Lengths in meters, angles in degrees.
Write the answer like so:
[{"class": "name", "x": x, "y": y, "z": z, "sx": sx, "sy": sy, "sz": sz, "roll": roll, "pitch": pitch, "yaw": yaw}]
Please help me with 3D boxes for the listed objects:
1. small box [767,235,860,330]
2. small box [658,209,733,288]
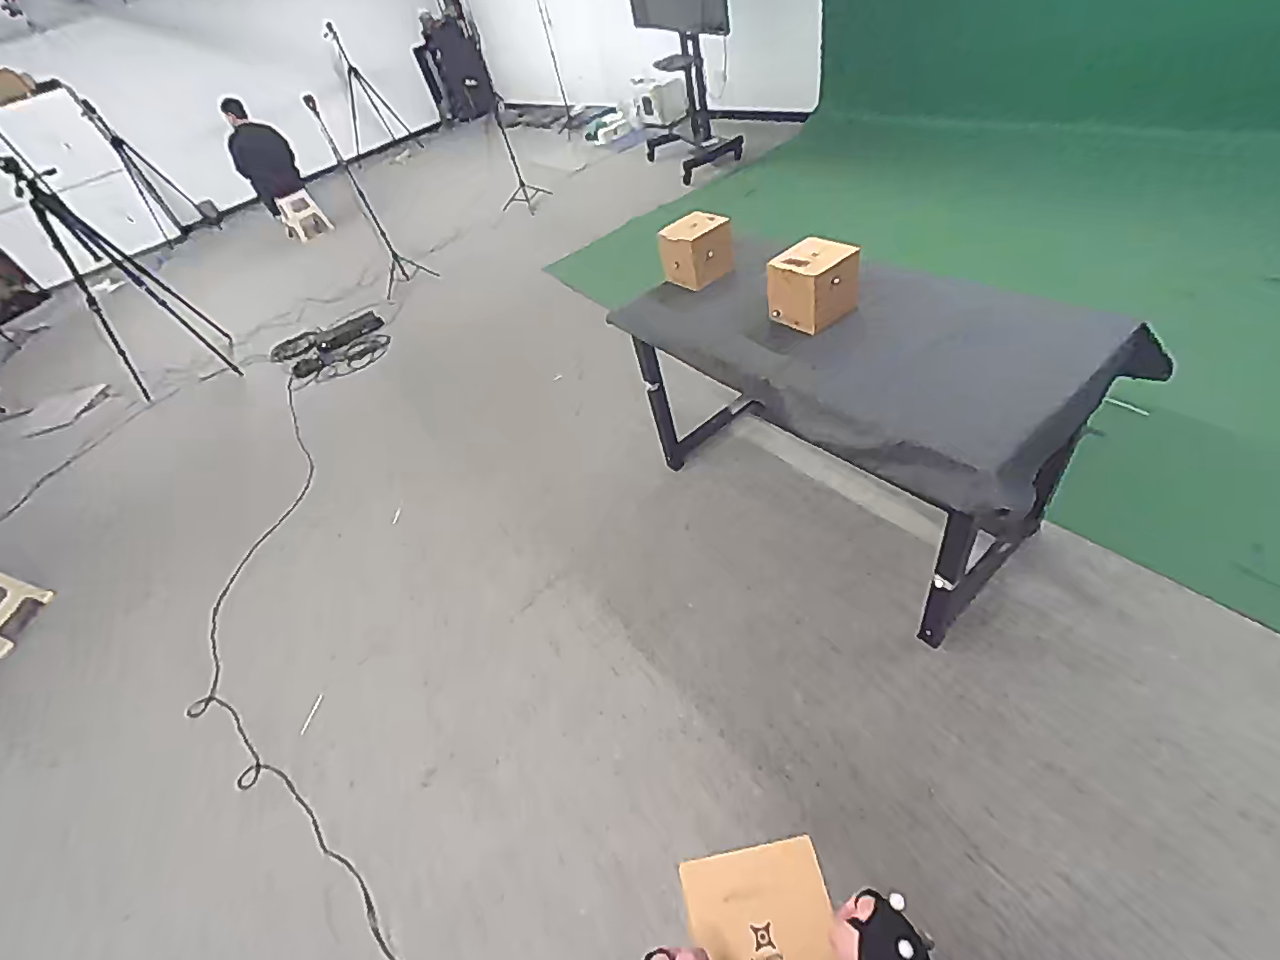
[{"class": "small box", "x": 0.470, "y": -0.533, "z": 1.462, "sx": 0.179, "sy": 0.176, "sz": 0.168, "roll": -35, "pitch": 47, "yaw": -17}, {"class": "small box", "x": 0.189, "y": -0.756, "z": 1.772, "sx": 0.179, "sy": 0.176, "sz": 0.168, "roll": -37, "pitch": 49, "yaw": -17}]
